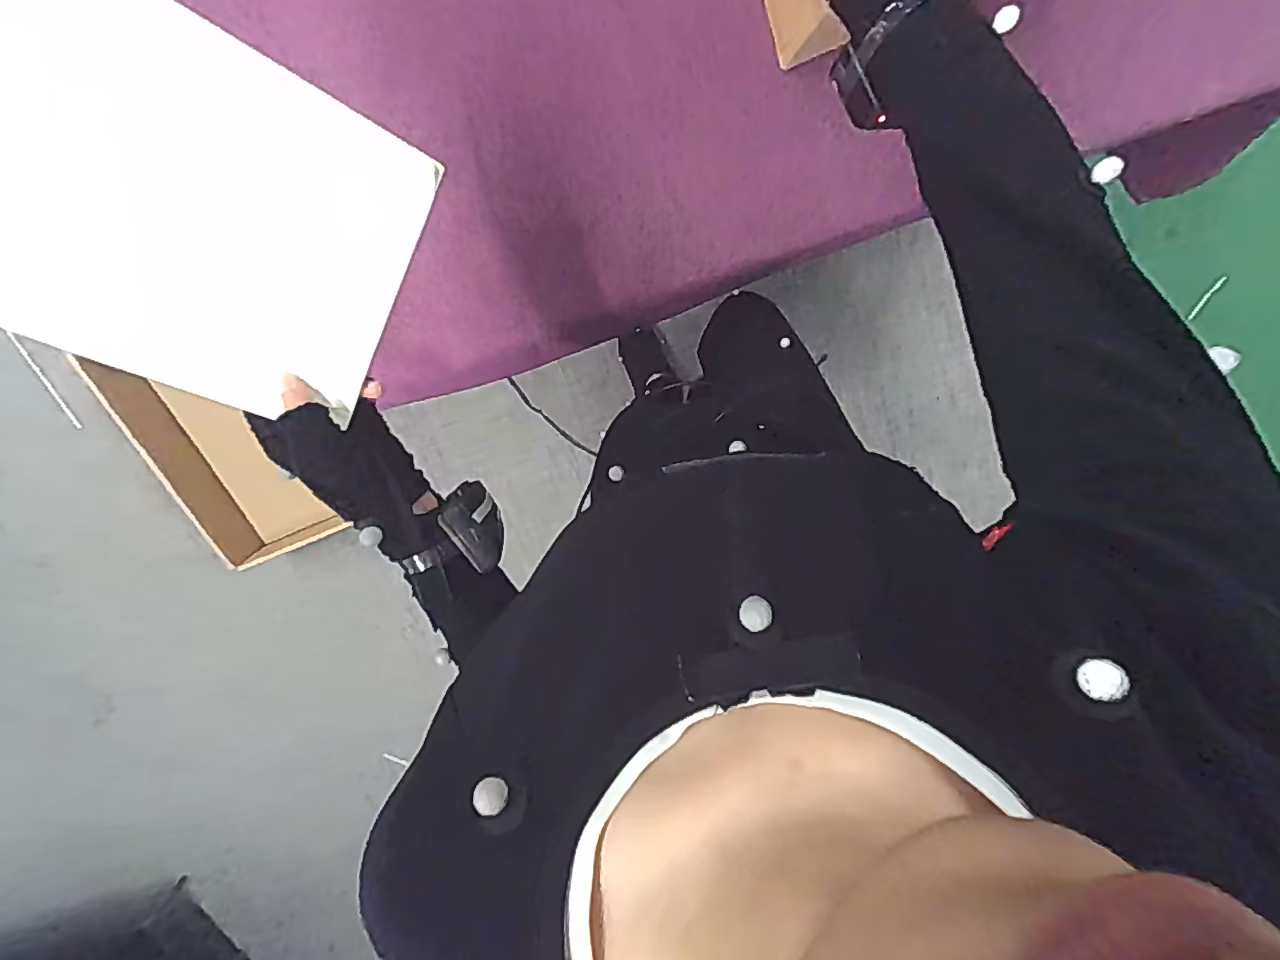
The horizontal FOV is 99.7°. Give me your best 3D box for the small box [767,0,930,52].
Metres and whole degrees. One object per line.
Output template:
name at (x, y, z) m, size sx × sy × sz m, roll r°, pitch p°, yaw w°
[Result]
small box at (0.202, -0.517, 0.470) m, size 0.168 × 0.176 × 0.179 m, roll -20°, pitch 108°, yaw 6°
